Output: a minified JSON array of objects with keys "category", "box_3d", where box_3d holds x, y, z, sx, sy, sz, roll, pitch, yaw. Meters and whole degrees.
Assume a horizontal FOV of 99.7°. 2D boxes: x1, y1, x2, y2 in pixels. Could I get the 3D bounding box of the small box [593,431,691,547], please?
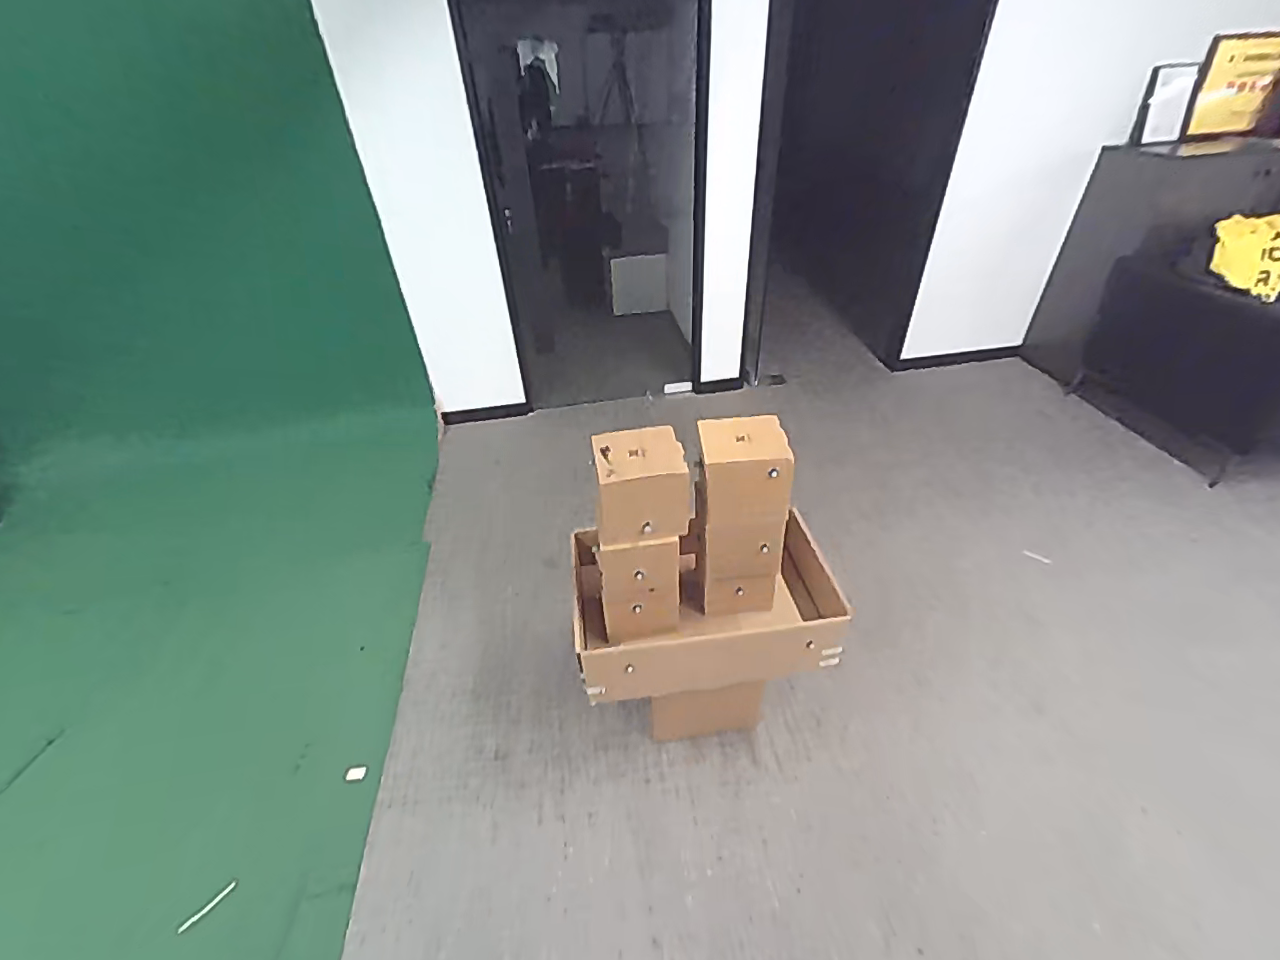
[{"category":"small box","box_3d":[0.000,0.019,1.124,0.179,0.176,0.168,-7,38,-6]}]
